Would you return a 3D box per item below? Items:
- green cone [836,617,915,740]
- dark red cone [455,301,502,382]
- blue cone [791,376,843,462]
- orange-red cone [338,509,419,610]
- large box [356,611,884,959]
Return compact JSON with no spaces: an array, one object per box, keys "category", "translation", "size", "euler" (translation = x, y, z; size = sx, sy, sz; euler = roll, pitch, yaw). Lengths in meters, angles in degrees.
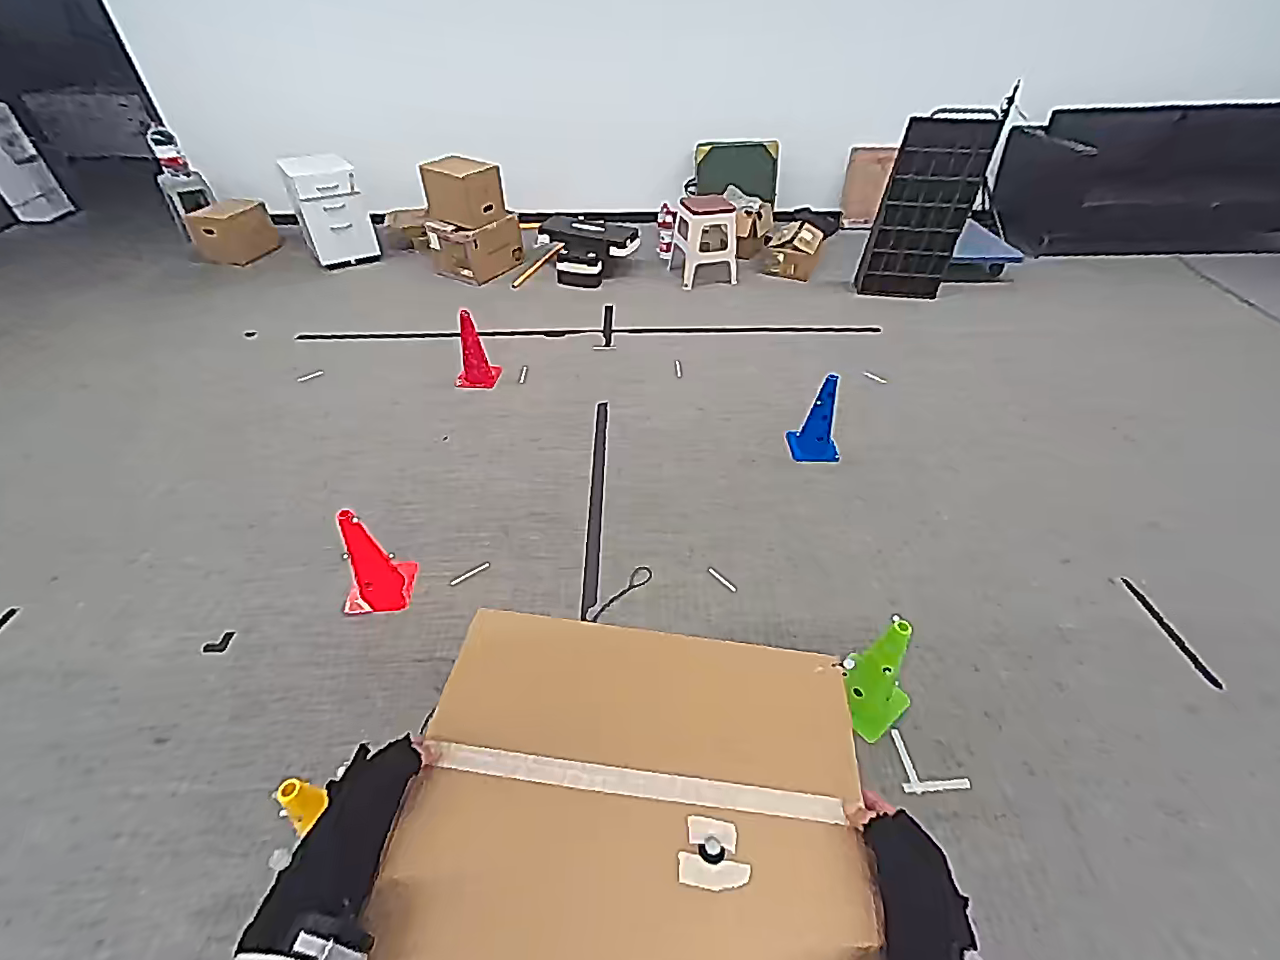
[{"category":"green cone","translation":[0.638,0.484,1.421],"size":[0.202,0.368,0.200],"euler":[-27,50,-29]},{"category":"dark red cone","translation":[-0.809,-0.674,2.625],"size":[0.201,0.394,0.202],"euler":[4,43,2]},{"category":"blue cone","translation":[0.768,-0.265,2.260],"size":[0.192,0.380,0.193],"euler":[3,43,0]},{"category":"orange-red cone","translation":[-0.854,0.224,1.686],"size":[0.198,0.360,0.199],"euler":[-3,44,-2]},{"category":"large box","translation":[-0.009,0.382,0.597],"size":[0.408,0.320,0.320],"euler":[8,44,3]}]
